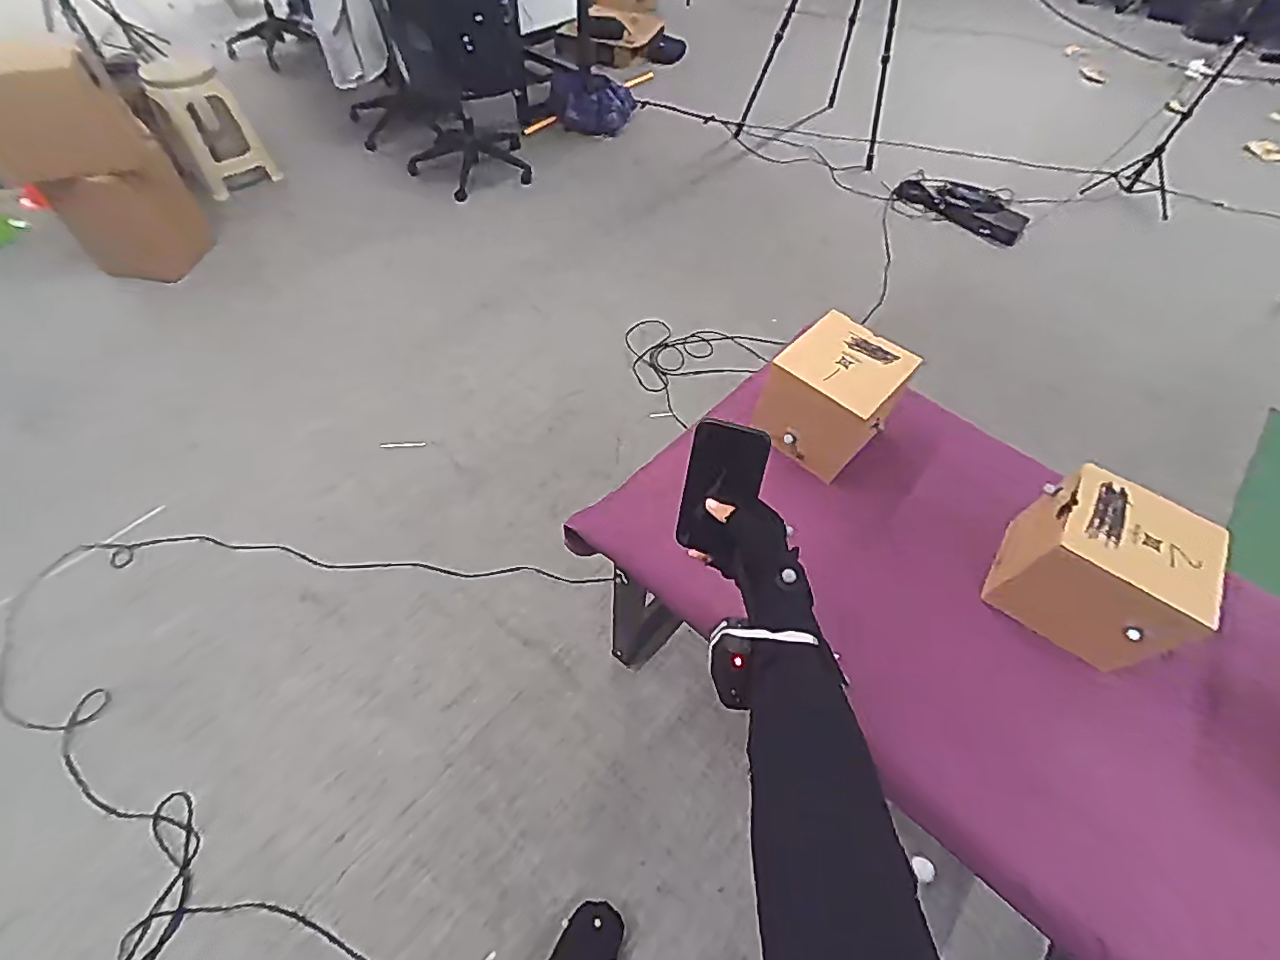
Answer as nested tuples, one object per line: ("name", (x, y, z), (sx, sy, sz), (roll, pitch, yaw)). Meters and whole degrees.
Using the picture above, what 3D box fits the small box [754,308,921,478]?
("small box", (0.310, -0.140, 0.883), (0.168, 0.176, 0.179), (39, 63, 21))
